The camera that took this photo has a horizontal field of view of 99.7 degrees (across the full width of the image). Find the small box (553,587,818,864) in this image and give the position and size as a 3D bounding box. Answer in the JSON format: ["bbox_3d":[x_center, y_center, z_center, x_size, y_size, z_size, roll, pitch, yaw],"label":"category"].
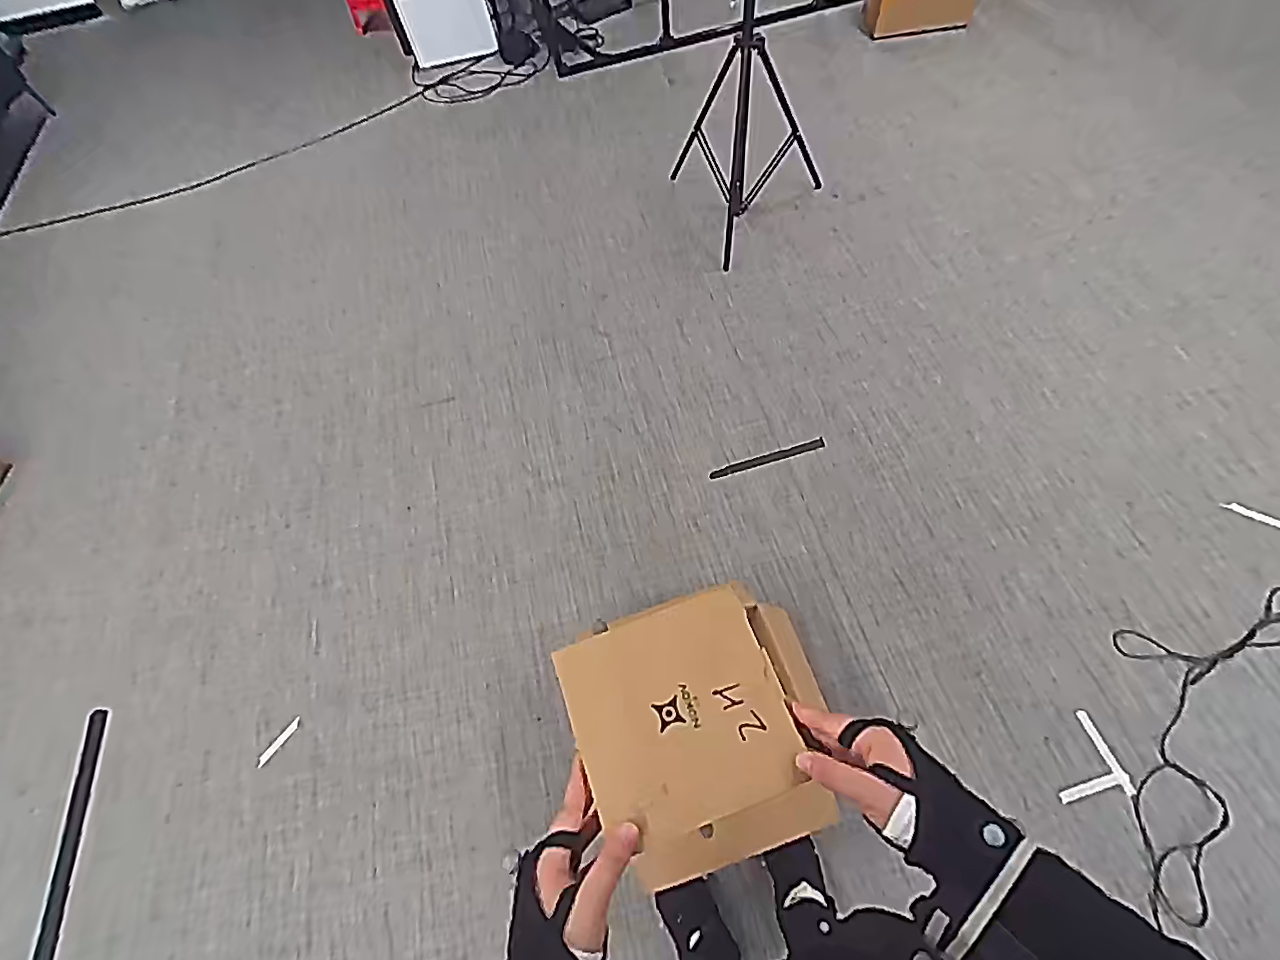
[{"bbox_3d":[0.036,0.223,0.513,0.179,0.176,0.168,-19,68,-6],"label":"small box"}]
